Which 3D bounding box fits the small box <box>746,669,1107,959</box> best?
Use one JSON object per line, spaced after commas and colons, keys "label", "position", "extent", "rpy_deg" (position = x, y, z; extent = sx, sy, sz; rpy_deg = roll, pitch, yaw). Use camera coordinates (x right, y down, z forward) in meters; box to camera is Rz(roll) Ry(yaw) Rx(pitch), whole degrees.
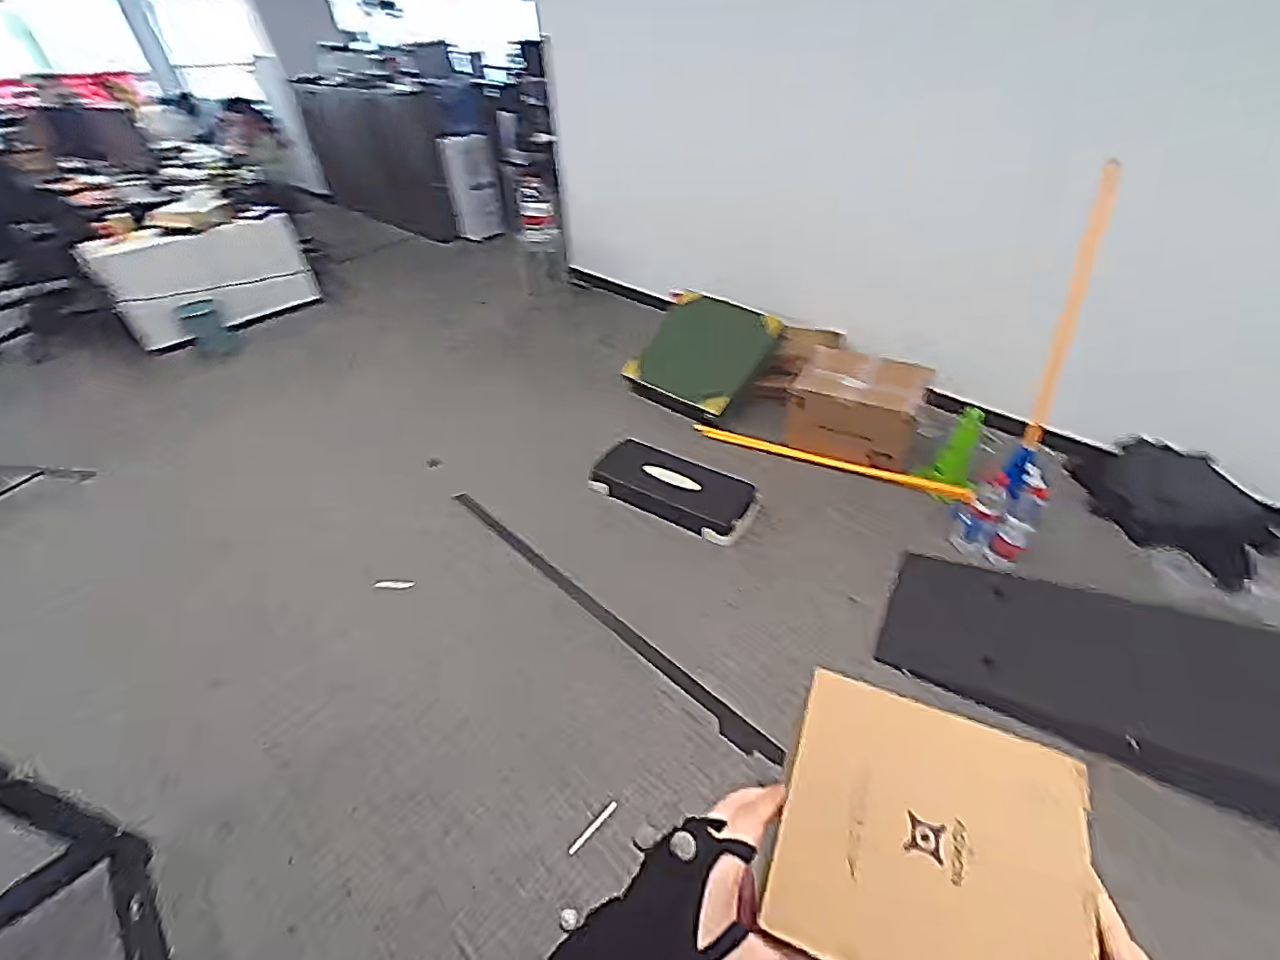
{"label": "small box", "position": [0.184, 0.268, 0.385], "extent": [0.179, 0.176, 0.168], "rpy_deg": [15, 53, 19]}
